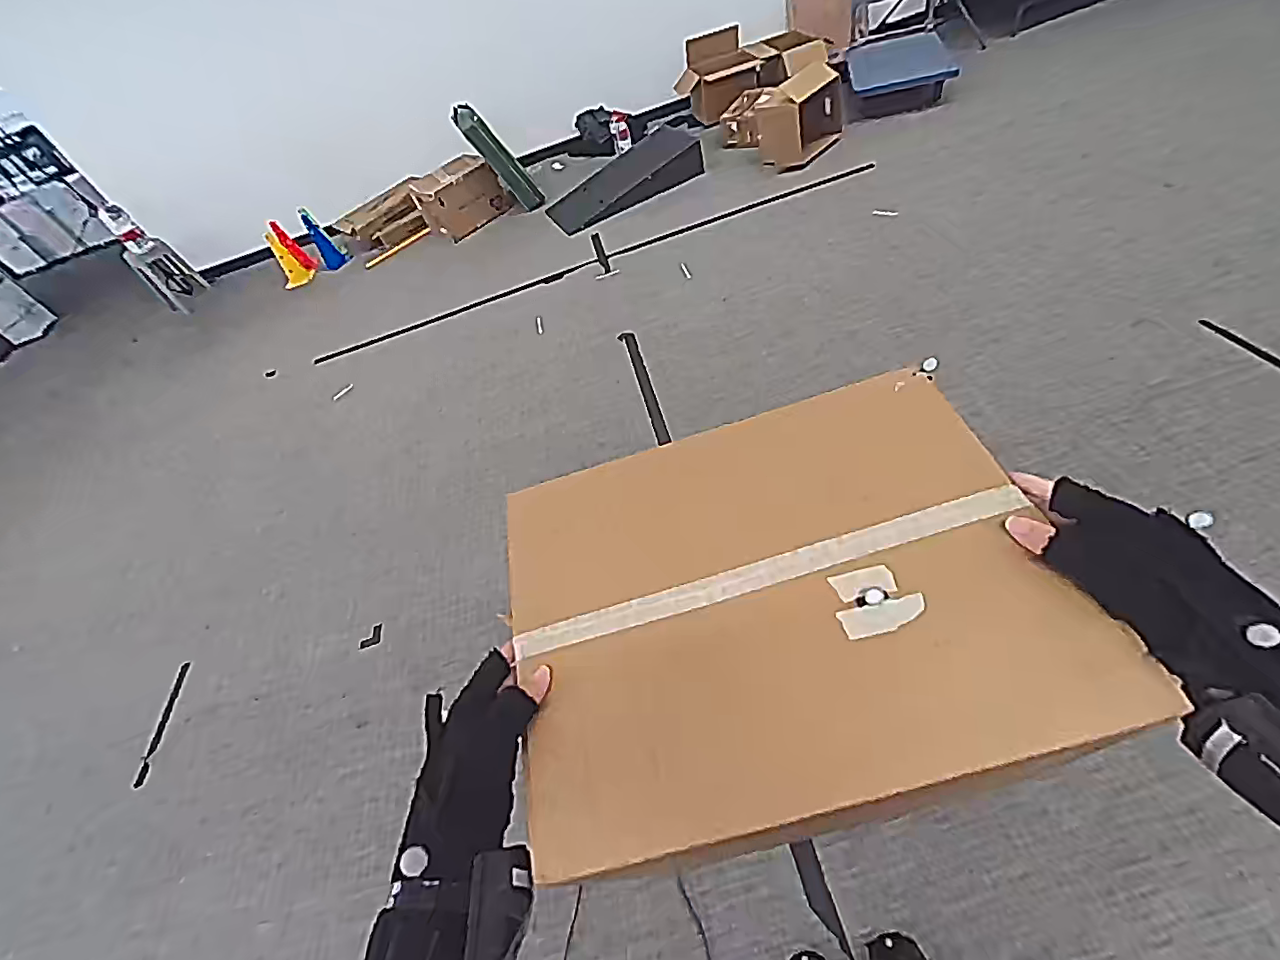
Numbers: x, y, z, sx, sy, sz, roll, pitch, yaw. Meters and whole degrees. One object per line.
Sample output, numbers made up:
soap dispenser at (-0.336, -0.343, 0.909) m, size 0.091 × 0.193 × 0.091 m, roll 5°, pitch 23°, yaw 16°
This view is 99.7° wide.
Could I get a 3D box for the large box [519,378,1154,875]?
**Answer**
large box at (0.132, 0.164, 0.549) m, size 0.408 × 0.320 × 0.320 m, roll -18°, pitch 53°, yaw 3°
